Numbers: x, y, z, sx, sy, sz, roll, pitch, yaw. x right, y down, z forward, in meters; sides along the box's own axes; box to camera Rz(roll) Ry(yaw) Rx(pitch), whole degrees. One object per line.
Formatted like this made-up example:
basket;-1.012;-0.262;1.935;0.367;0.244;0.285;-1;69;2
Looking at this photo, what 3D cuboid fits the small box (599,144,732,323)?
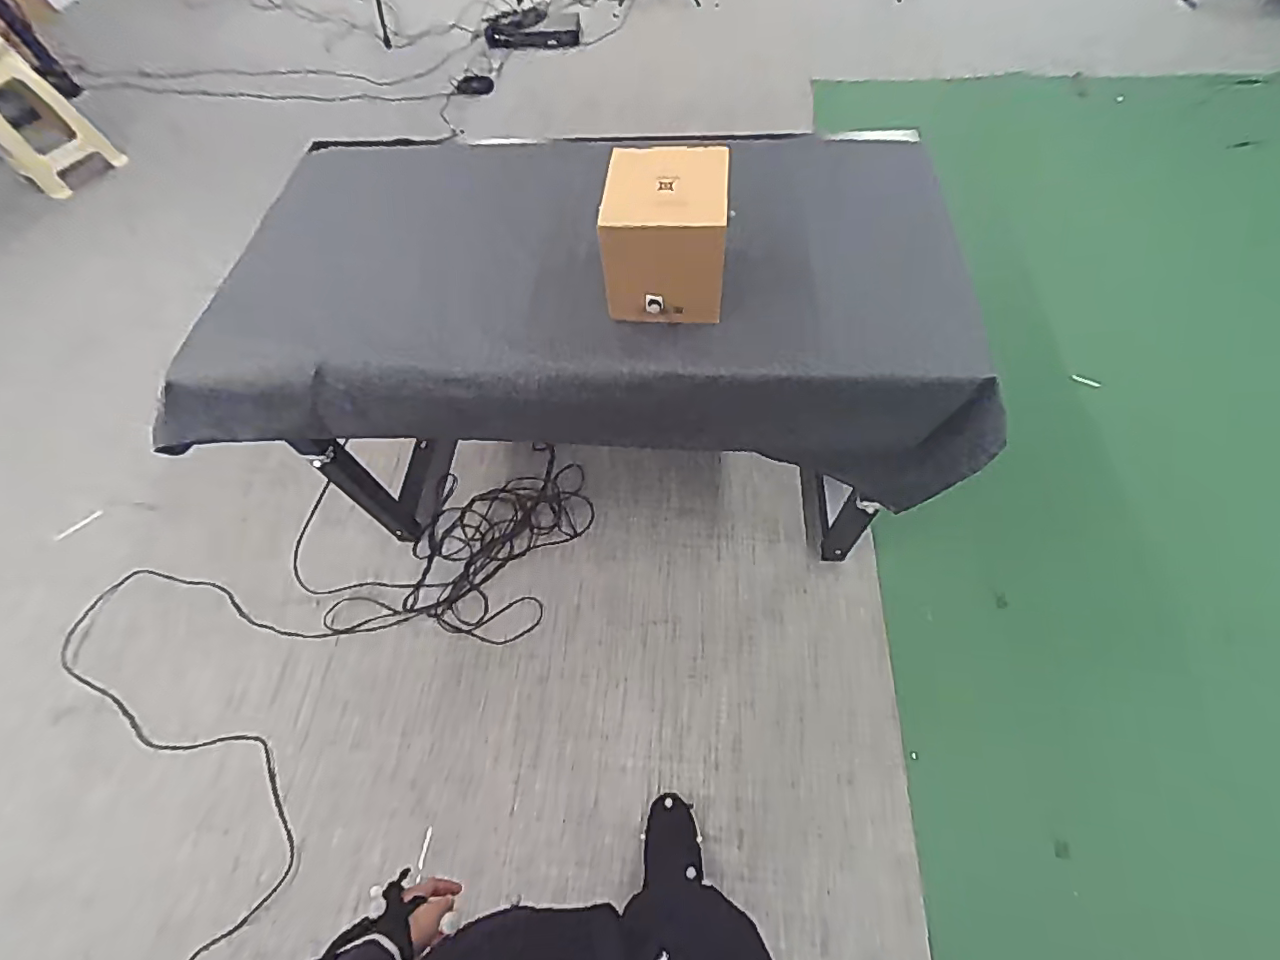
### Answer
small box;0.042;-0.352;0.781;0.168;0.176;0.179;2;61;6
